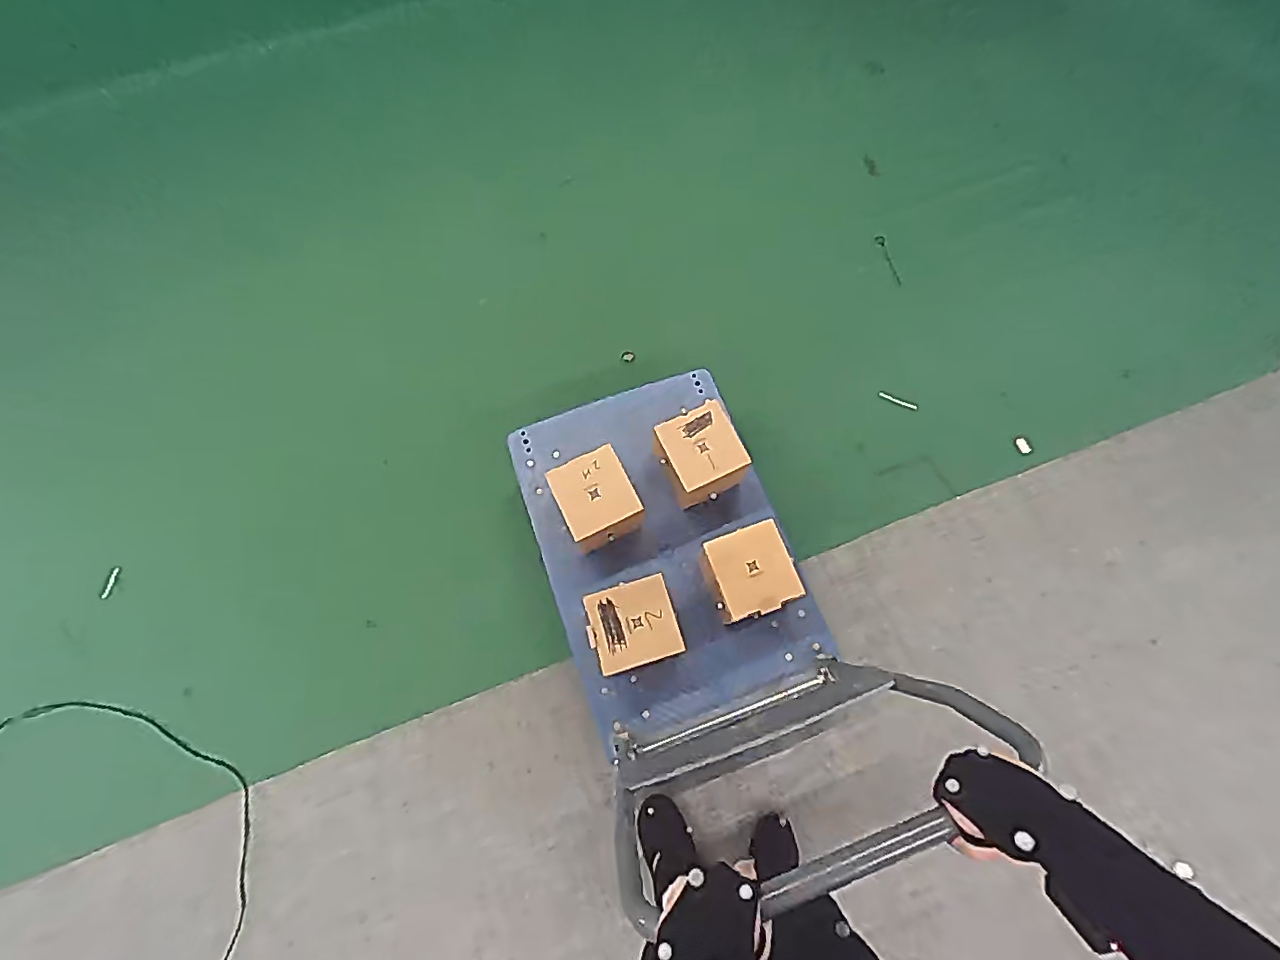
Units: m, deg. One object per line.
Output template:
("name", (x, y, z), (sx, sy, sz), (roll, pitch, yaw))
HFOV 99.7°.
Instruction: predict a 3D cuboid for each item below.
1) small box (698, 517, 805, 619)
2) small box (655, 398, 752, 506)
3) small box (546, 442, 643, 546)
("small box", (0.240, 0.204, 1.218), (0.168, 0.176, 0.179), (-19, 75, -6))
("small box", (0.142, -0.061, 1.296), (0.168, 0.176, 0.179), (-24, 75, -7))
("small box", (-0.101, 0.042, 1.263), (0.168, 0.176, 0.179), (-25, 75, -8))
